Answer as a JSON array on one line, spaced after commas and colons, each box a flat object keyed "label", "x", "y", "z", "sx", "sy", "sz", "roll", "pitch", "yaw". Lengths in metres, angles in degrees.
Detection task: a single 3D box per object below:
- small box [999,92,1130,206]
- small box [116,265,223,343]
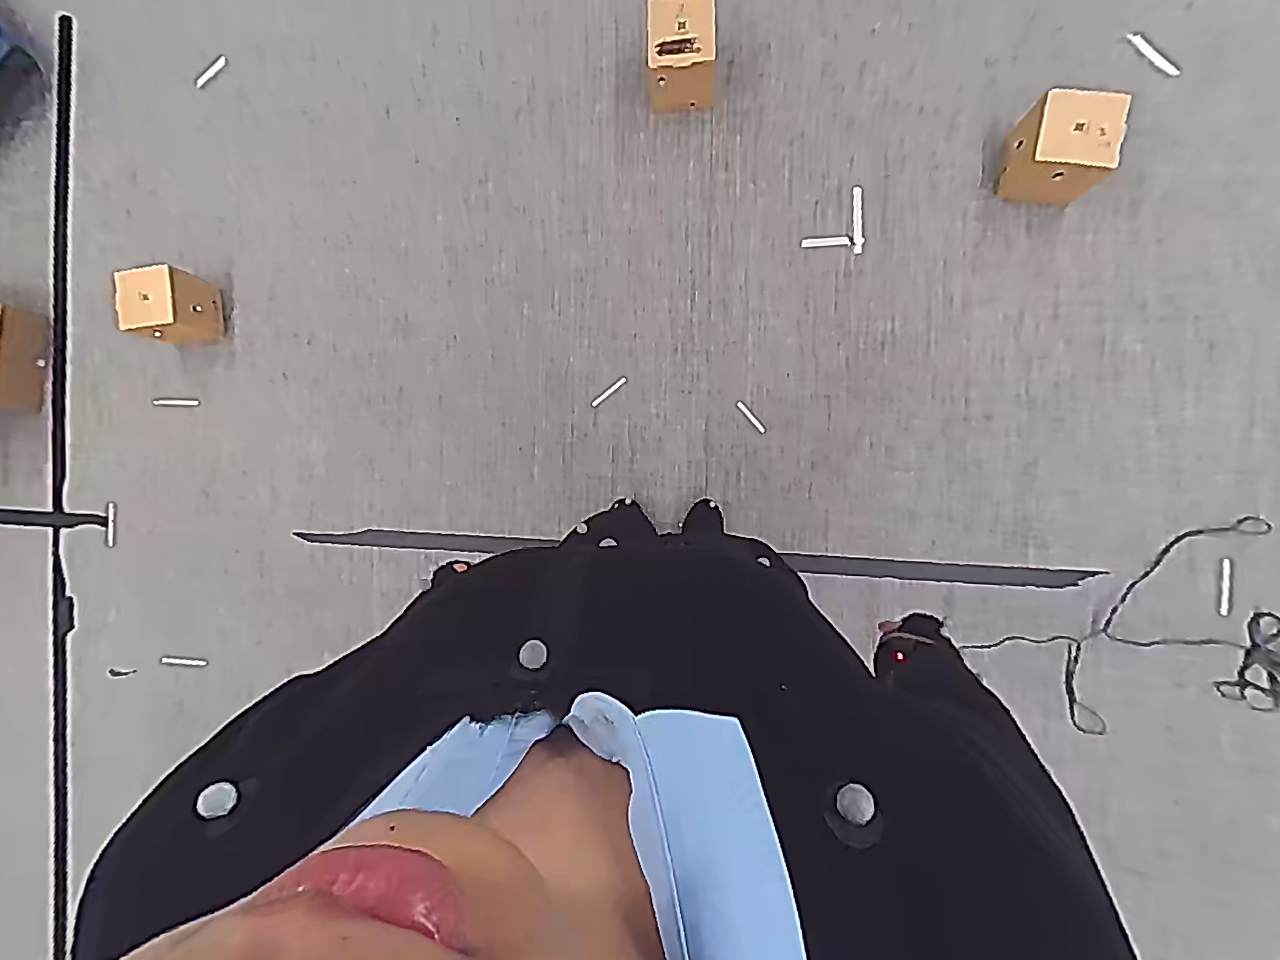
[{"label": "small box", "x": 1.001, "y": -0.781, "z": 1.292, "sx": 0.179, "sy": 0.176, "sz": 0.168, "roll": 11, "pitch": 92, "yaw": 6}, {"label": "small box", "x": -1.362, "y": -0.507, "z": 1.579, "sx": 0.179, "sy": 0.176, "sz": 0.168, "roll": -6, "pitch": 90, "yaw": 7}]
